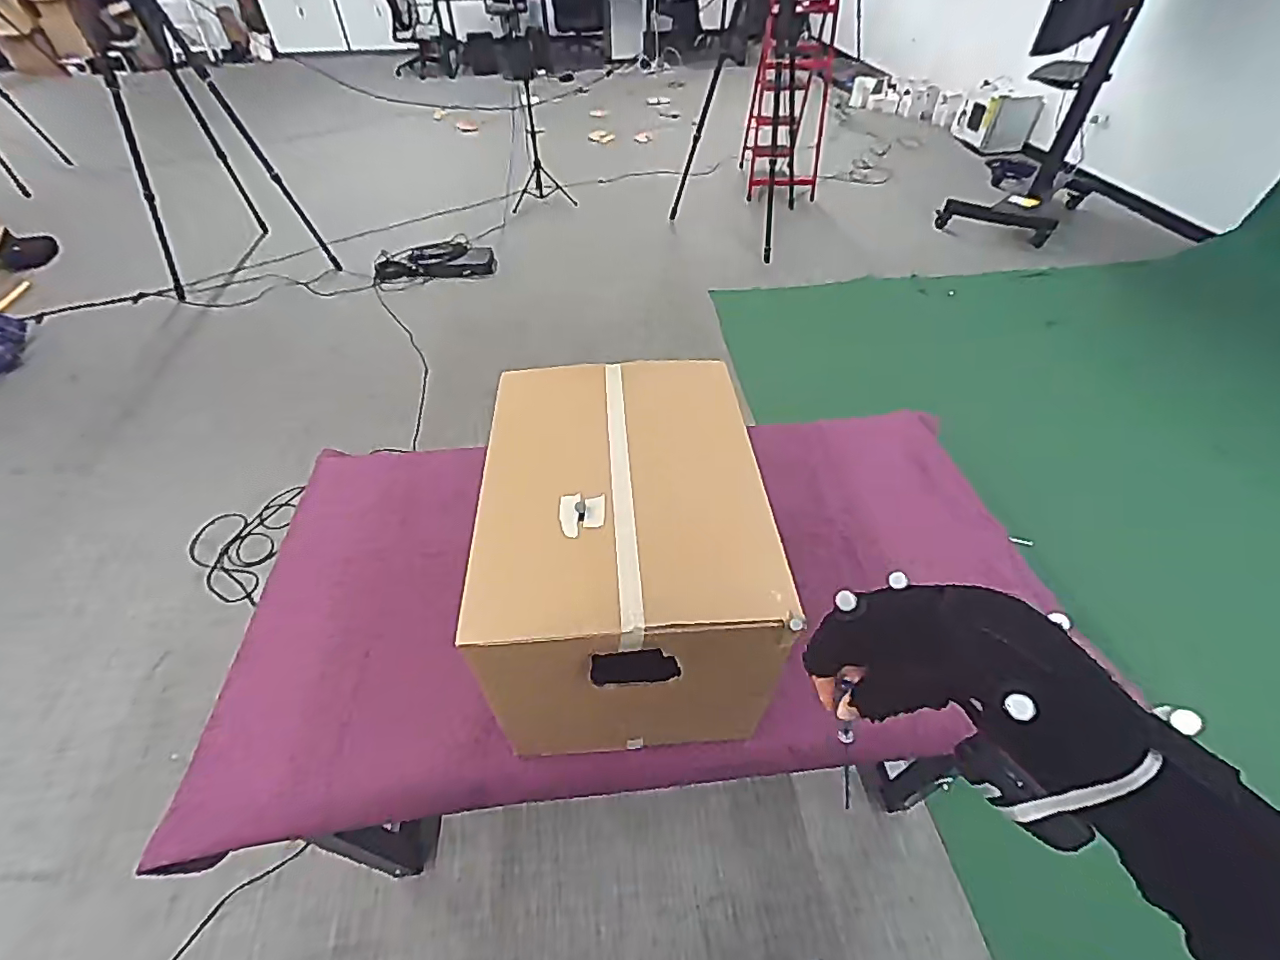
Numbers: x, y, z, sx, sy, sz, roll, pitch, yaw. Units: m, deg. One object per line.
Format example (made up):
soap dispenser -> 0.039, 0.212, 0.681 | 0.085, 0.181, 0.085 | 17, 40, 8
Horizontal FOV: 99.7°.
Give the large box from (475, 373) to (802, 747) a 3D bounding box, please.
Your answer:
large box -> -0.017, 0.099, 0.739 | 0.320, 0.320, 0.408 | -3, 48, -2
